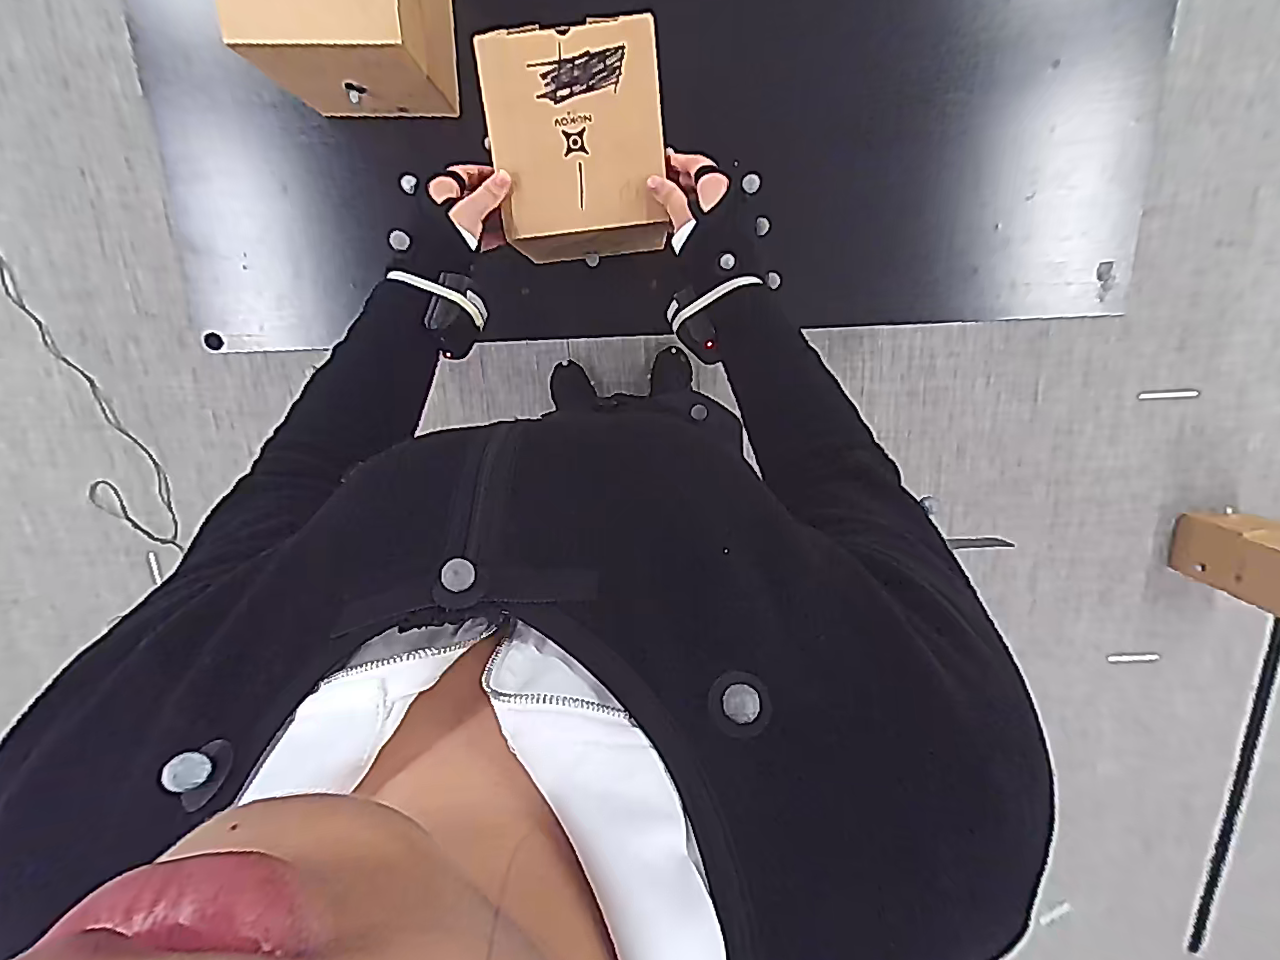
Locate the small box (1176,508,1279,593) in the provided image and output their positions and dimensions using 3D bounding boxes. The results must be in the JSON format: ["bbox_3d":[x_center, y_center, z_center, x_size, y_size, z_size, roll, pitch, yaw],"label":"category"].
[{"bbox_3d":[1.612,0.186,1.456,0.168,0.176,0.179,-3,104,1],"label":"small box"}]

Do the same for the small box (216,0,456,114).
[{"bbox_3d":[-0.298,-0.499,0.551,0.168,0.176,0.179,0,104,0],"label":"small box"}]

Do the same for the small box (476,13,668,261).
[{"bbox_3d":[-0.062,-0.350,0.587,0.168,0.176,0.179,-6,104,2],"label":"small box"}]

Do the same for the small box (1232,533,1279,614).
[{"bbox_3d":[1.609,0.229,1.298,0.179,0.176,0.168,-5,105,1],"label":"small box"}]
